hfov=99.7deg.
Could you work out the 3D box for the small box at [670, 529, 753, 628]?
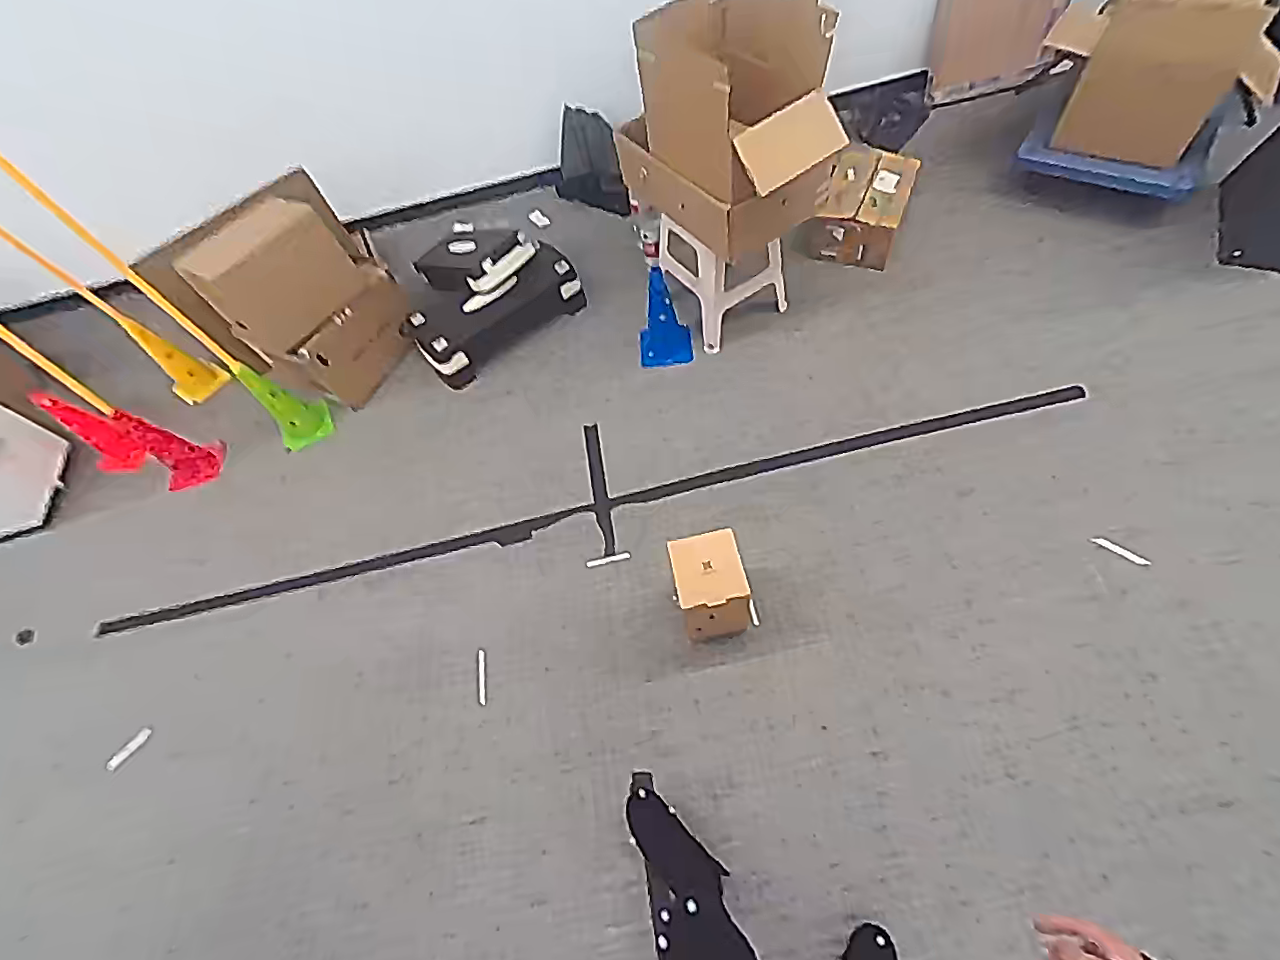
[{"bbox_3d":[0.175,0.249,1.351,0.168,0.176,0.179,-13,58,1],"label":"small box"}]
